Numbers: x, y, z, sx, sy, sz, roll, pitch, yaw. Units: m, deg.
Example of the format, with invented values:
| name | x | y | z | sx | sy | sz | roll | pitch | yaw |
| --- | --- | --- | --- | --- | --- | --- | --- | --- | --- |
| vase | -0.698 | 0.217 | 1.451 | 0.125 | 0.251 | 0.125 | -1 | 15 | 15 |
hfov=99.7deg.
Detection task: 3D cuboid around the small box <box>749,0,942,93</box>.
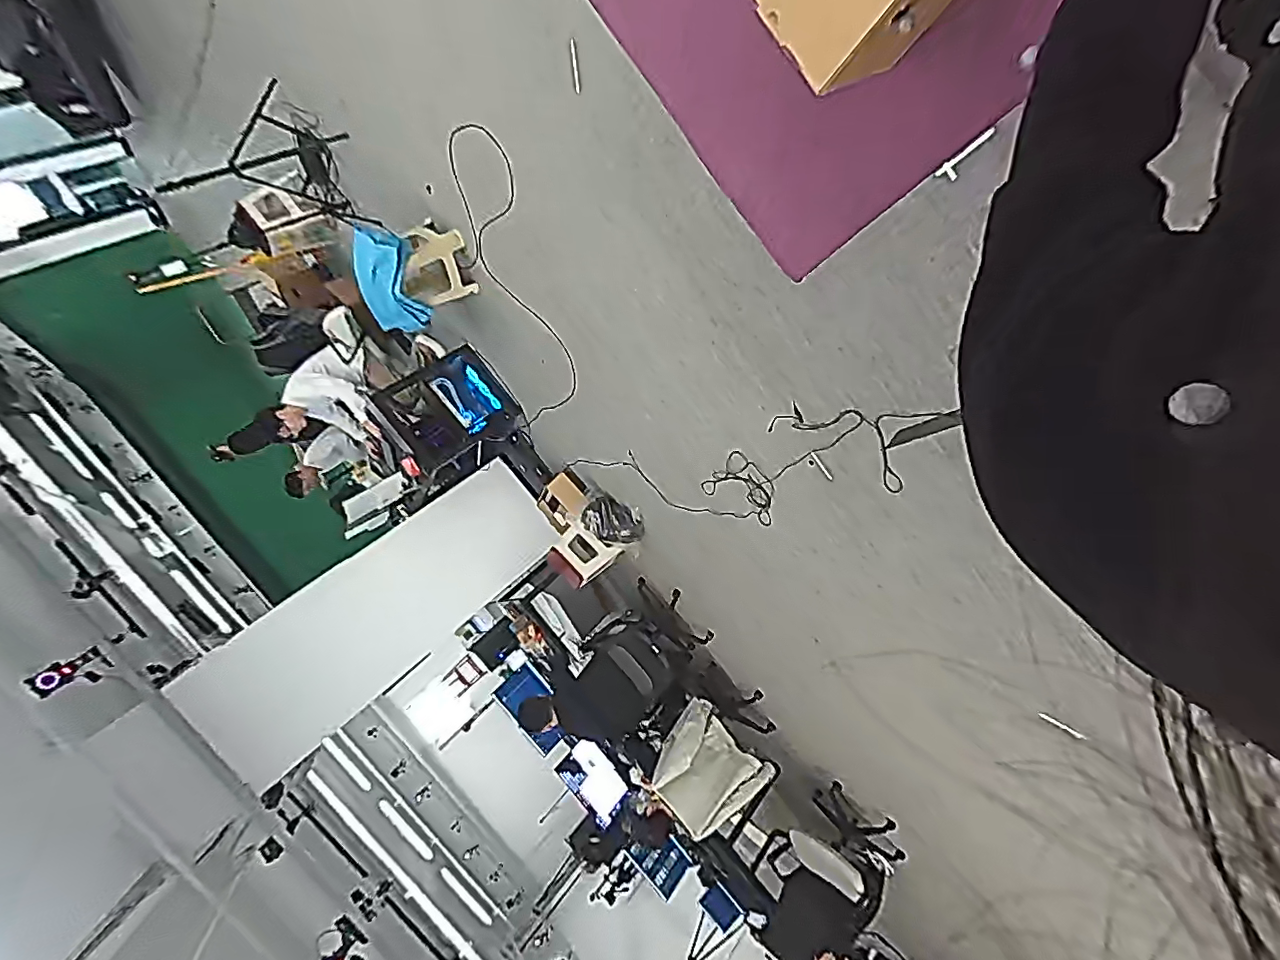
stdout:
| name | x | y | z | sx | sy | sz | roll | pitch | yaw |
| --- | --- | --- | --- | --- | --- | --- | --- | --- | --- |
| small box | 0.216 | -0.519 | 0.502 | 0.168 | 0.176 | 0.179 | 53 | 151 | -5 |
